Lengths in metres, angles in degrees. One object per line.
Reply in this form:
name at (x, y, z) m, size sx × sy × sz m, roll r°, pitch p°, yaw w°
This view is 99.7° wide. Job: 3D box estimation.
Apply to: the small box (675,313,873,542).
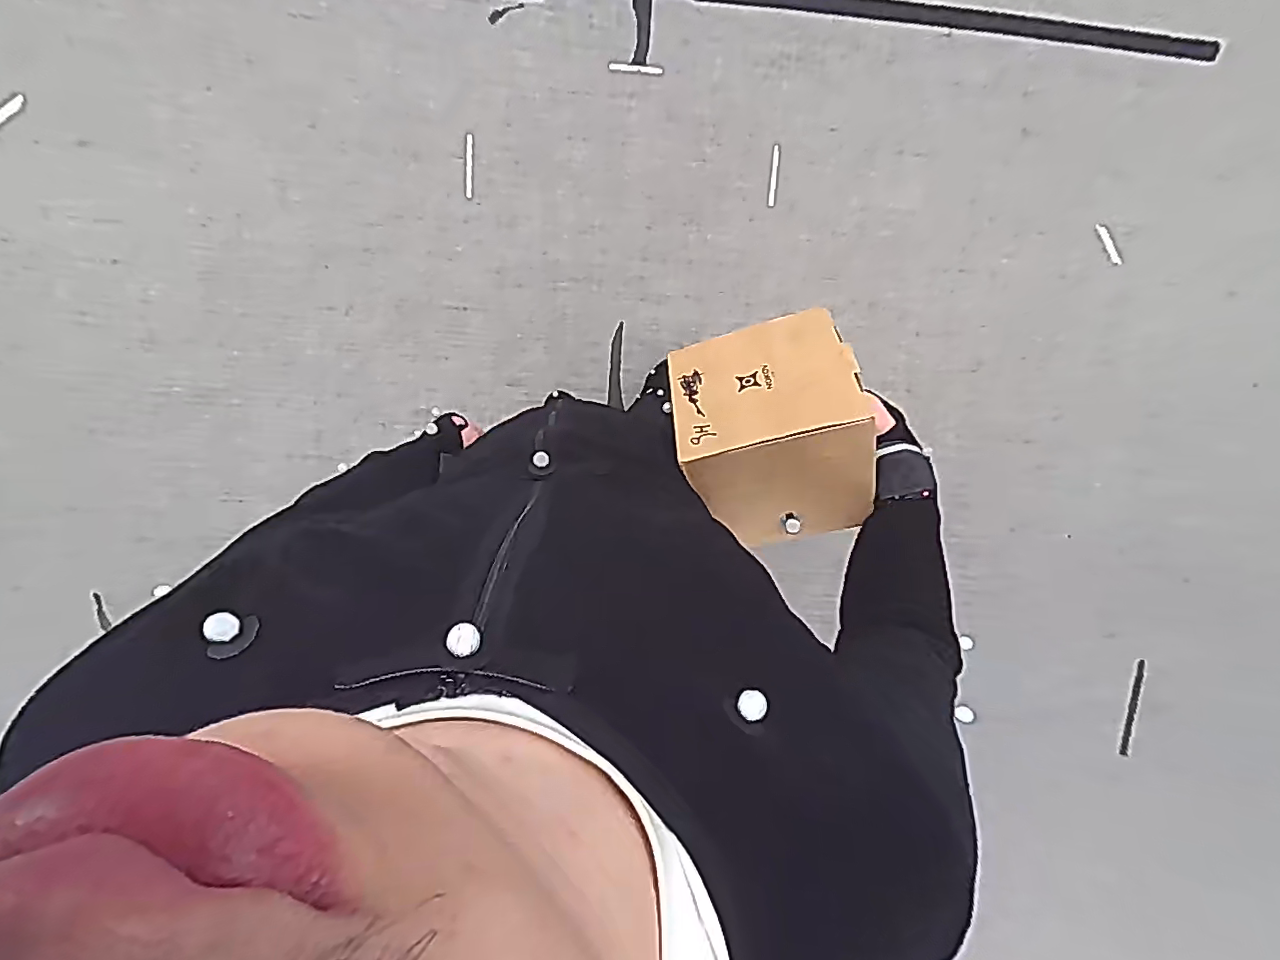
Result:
small box at (0.146, -0.051, 0.607) m, size 0.179 × 0.168 × 0.176 m, roll -13°, pitch 138°, yaw 12°
